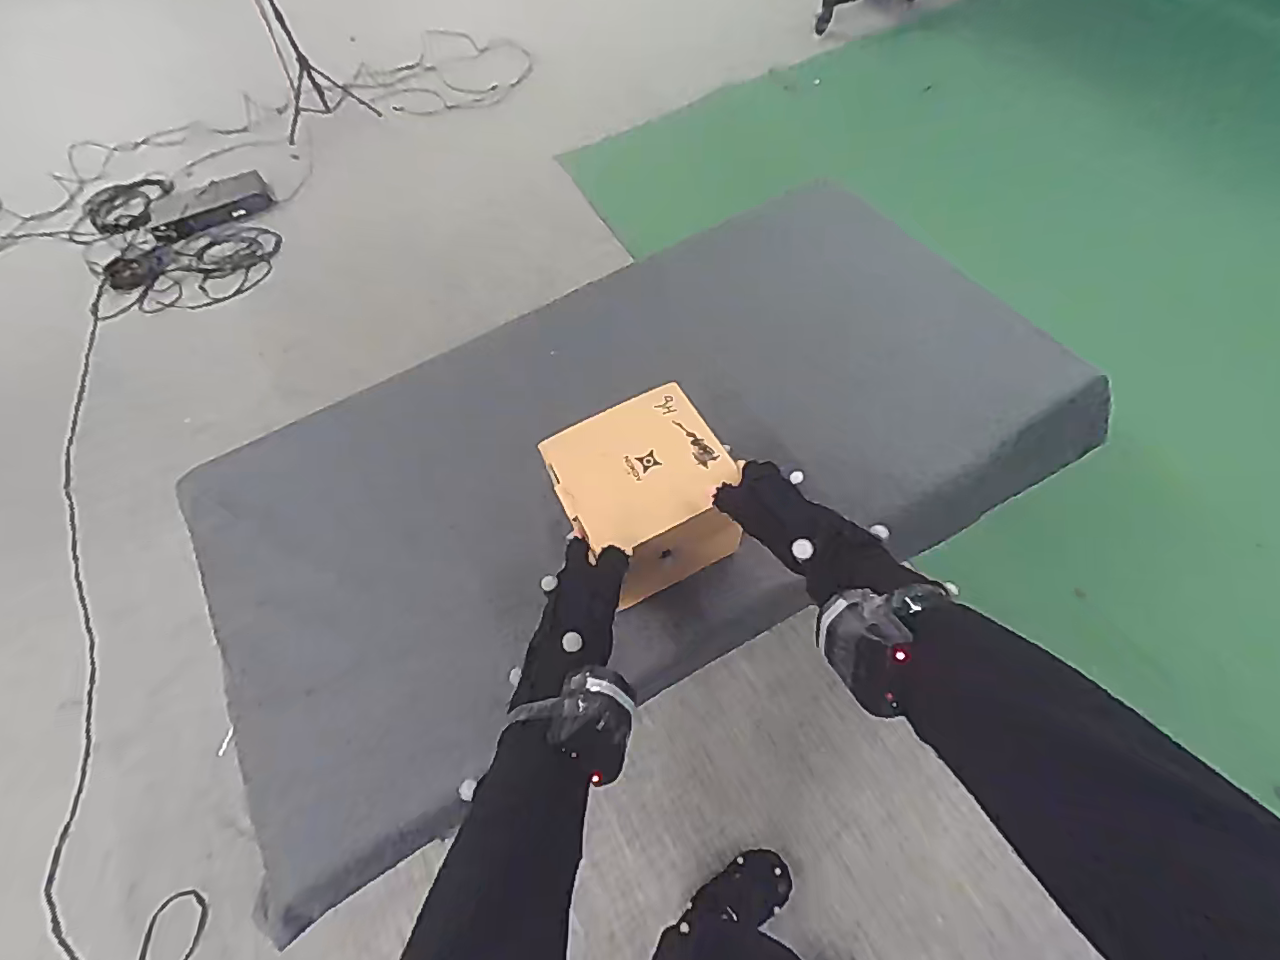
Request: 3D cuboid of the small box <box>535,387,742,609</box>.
[{"bbox_3d":[0.002,0.029,0.641,0.179,0.176,0.168,-26,61,-9],"label":"small box"}]
